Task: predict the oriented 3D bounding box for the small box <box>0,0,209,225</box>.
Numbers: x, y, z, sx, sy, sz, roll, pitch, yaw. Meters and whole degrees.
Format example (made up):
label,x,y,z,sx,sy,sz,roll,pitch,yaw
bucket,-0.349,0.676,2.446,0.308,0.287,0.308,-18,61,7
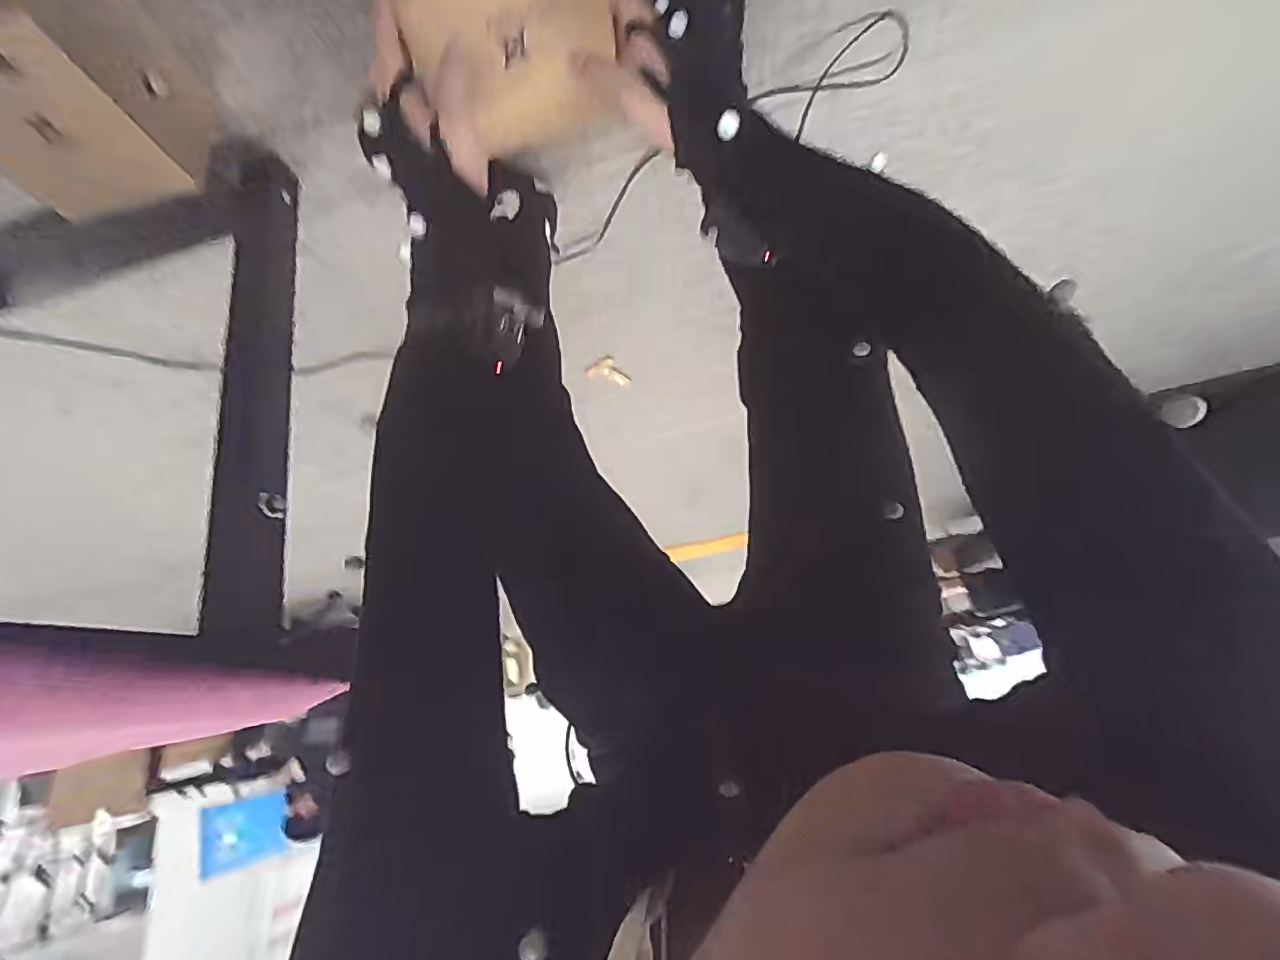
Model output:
label,x,y,z,sx,sy,sz,roll,pitch,yaw
small box,-0.596,-0.409,0.561,0.168,0.176,0.179,-13,158,2
